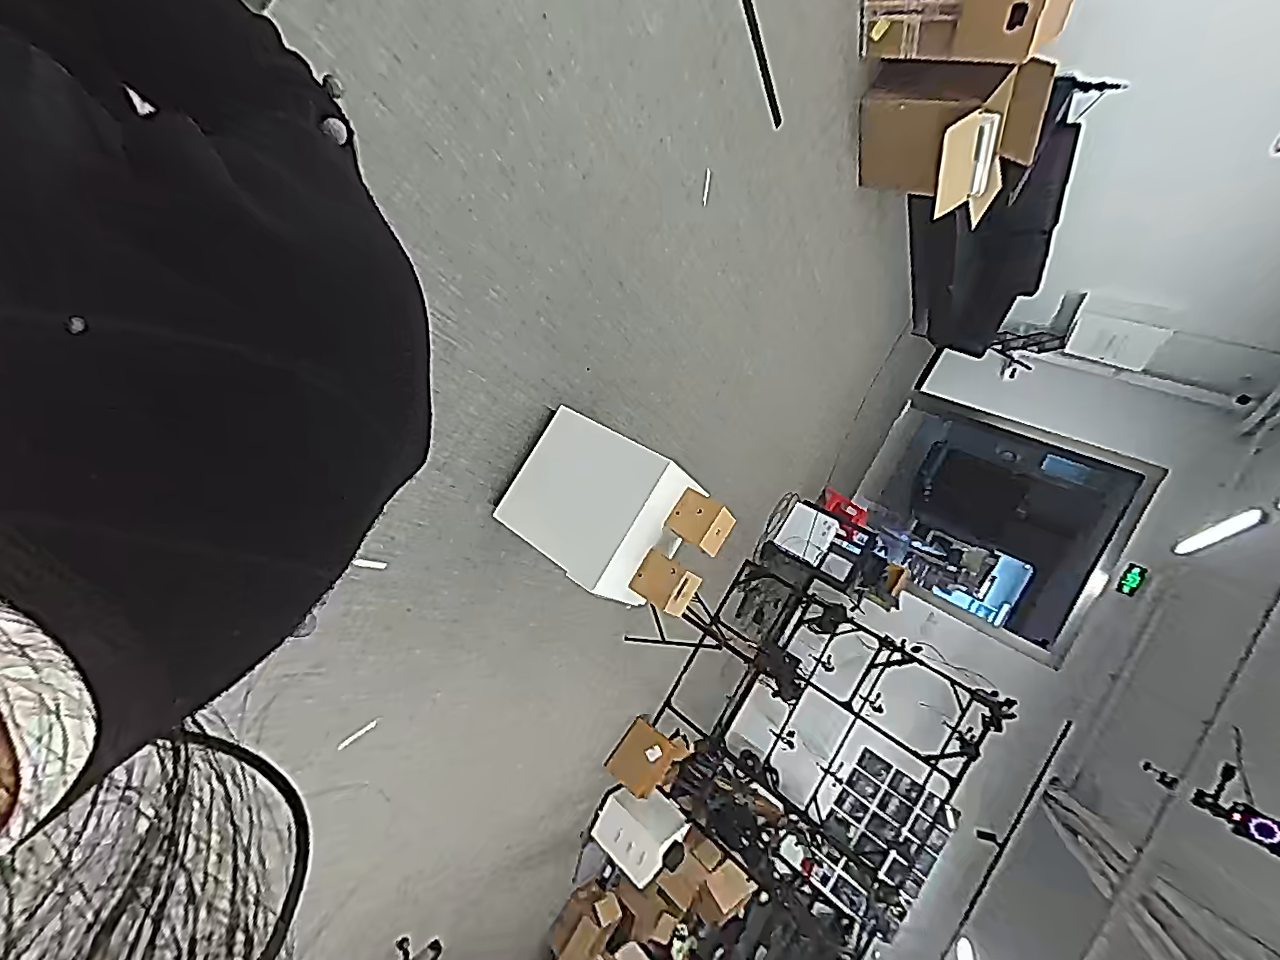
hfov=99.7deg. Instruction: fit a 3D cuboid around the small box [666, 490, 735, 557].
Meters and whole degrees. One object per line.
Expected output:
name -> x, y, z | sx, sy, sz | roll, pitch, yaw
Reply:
small box -> 0.221, 0.154, 1.985 | 0.168, 0.176, 0.179 | -57, 148, -6
